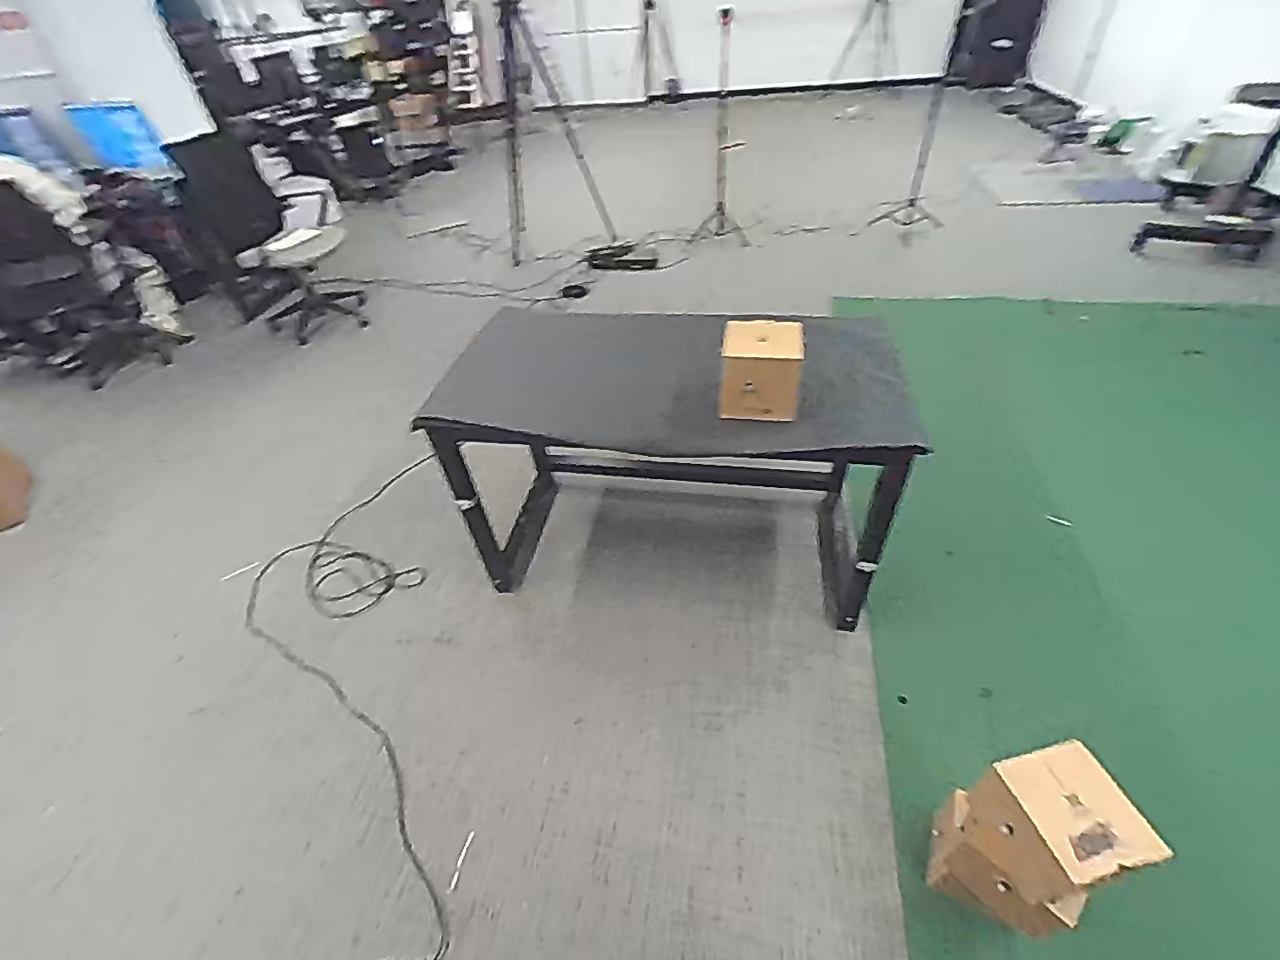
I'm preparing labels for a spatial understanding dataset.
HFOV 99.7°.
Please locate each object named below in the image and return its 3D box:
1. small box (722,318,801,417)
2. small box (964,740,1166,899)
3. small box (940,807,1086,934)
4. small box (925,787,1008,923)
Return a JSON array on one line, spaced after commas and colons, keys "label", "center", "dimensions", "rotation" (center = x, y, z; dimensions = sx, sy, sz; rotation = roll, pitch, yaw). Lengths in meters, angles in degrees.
[{"label": "small box", "center": [0.279, -0.260, 1.250], "dimensions": [0.168, 0.176, 0.179], "rotation": [4, 42, 11]}, {"label": "small box", "center": [0.691, 0.574, 0.906], "dimensions": [0.168, 0.176, 0.179], "rotation": [-12, 43, -5]}, {"label": "small box", "center": [0.702, 0.699, 1.013], "dimensions": [0.168, 0.176, 0.179], "rotation": [-35, 51, -26]}, {"label": "small box", "center": [0.726, 0.796, 1.145], "dimensions": [0.179, 0.176, 0.168], "rotation": [17, 49, 22]}]
